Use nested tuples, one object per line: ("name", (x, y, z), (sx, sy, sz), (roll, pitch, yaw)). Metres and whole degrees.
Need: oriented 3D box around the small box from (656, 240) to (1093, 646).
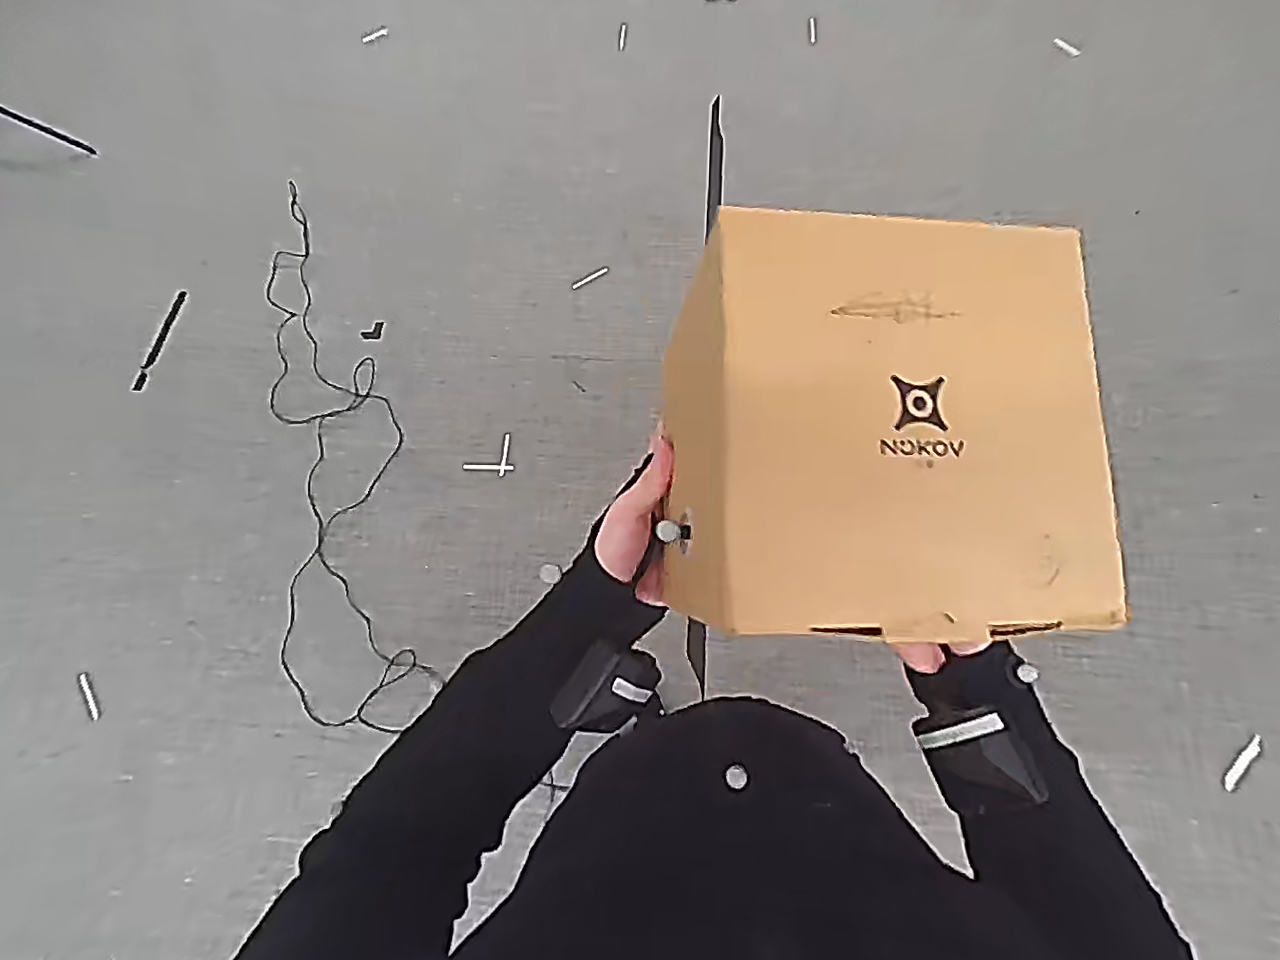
("small box", (0.104, -0.006, 0.313), (0.168, 0.176, 0.179), (2, 80, -8))
